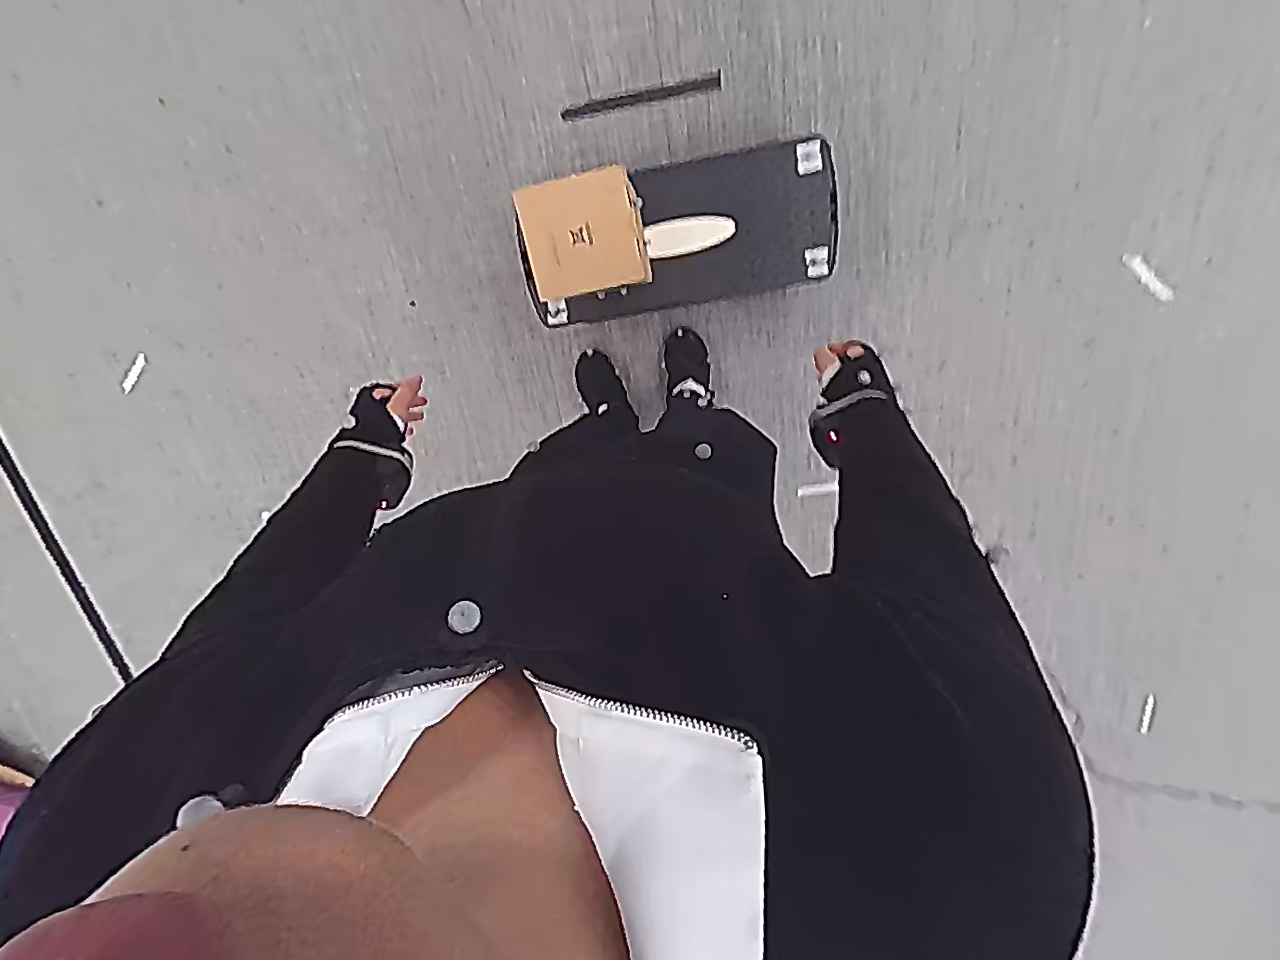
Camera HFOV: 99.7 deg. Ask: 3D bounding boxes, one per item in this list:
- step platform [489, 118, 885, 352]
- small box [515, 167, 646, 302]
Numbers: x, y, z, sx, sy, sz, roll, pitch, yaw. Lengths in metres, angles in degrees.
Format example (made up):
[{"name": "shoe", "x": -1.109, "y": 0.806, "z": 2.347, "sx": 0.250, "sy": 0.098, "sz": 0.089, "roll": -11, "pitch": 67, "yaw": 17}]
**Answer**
[{"name": "step platform", "x": 0.080, "y": -0.440, "z": 1.030, "sx": 0.684, "sy": 0.204, "sz": 0.286, "roll": -8, "pitch": 109, "yaw": 6}, {"name": "small box", "x": -0.089, "y": -0.406, "z": 0.916, "sx": 0.179, "sy": 0.176, "sz": 0.168, "roll": -11, "pitch": 108, "yaw": 7}]
